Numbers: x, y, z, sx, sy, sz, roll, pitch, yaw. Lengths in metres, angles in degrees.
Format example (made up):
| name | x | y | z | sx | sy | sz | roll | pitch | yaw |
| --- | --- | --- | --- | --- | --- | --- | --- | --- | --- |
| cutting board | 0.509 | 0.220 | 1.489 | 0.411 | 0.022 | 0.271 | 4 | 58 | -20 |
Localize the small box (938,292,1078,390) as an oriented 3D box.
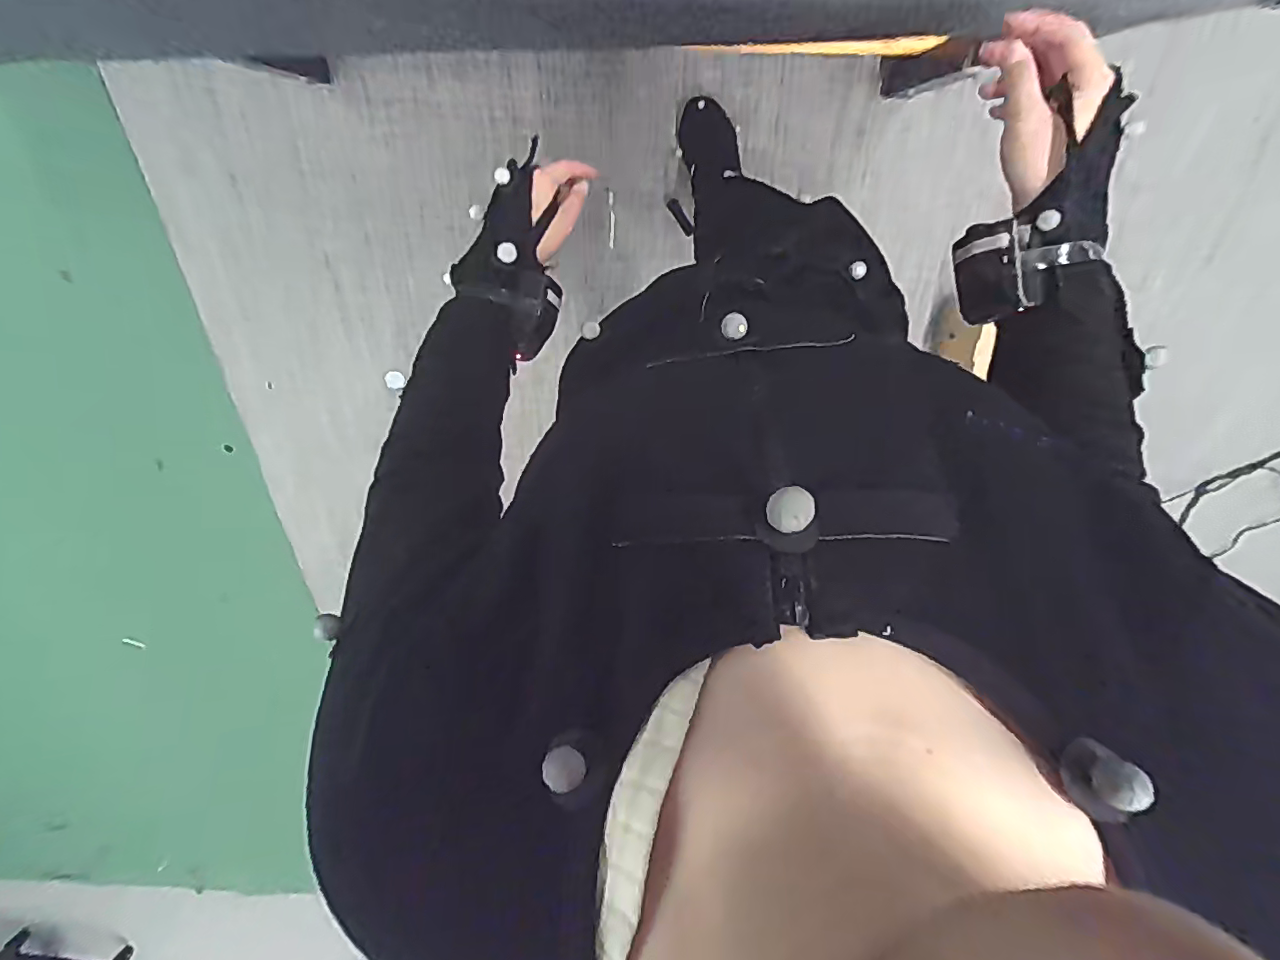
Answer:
| name | x | y | z | sx | sy | sz | roll | pitch | yaw |
| --- | --- | --- | --- | --- | --- | --- | --- | --- | --- |
| small box | 0.786 | -0.306 | 1.175 | 0.179 | 0.176 | 0.168 | -3 | 118 | 5 |
